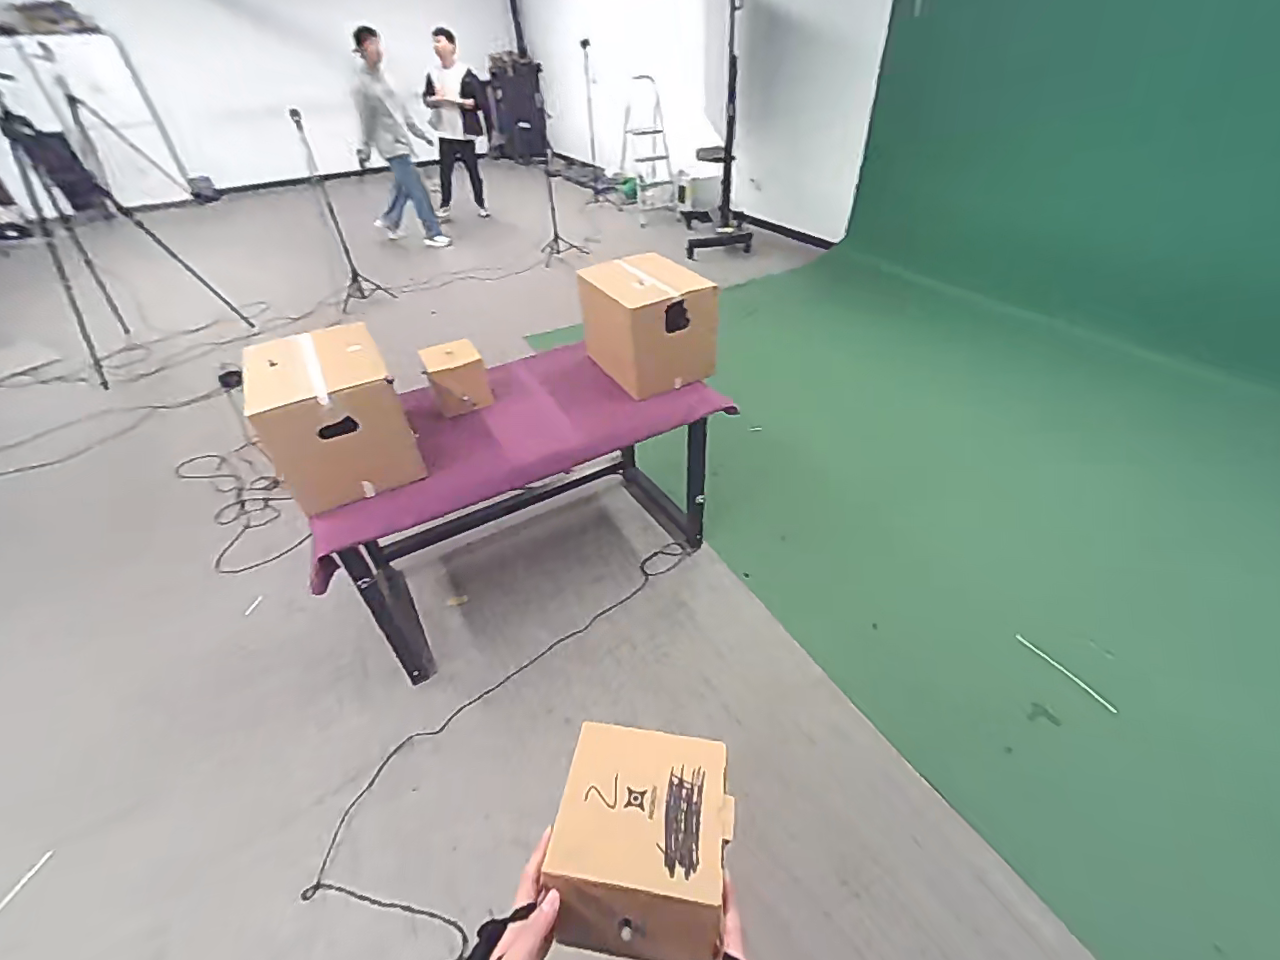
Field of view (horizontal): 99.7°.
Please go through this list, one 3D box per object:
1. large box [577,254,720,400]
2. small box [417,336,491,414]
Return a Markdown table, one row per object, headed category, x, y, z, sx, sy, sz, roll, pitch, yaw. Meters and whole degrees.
| category | x | y | z | sx | sy | sz | roll | pitch | yaw |
| --- | --- | --- | --- | --- | --- | --- | --- | --- | --- |
| large box | 0.020 | -0.526 | 1.819 | 0.320 | 0.320 | 0.408 | -22 | 44 | -19 |
| small box | -0.594 | -0.335 | 1.733 | 0.168 | 0.176 | 0.179 | -22 | 44 | -20 |
